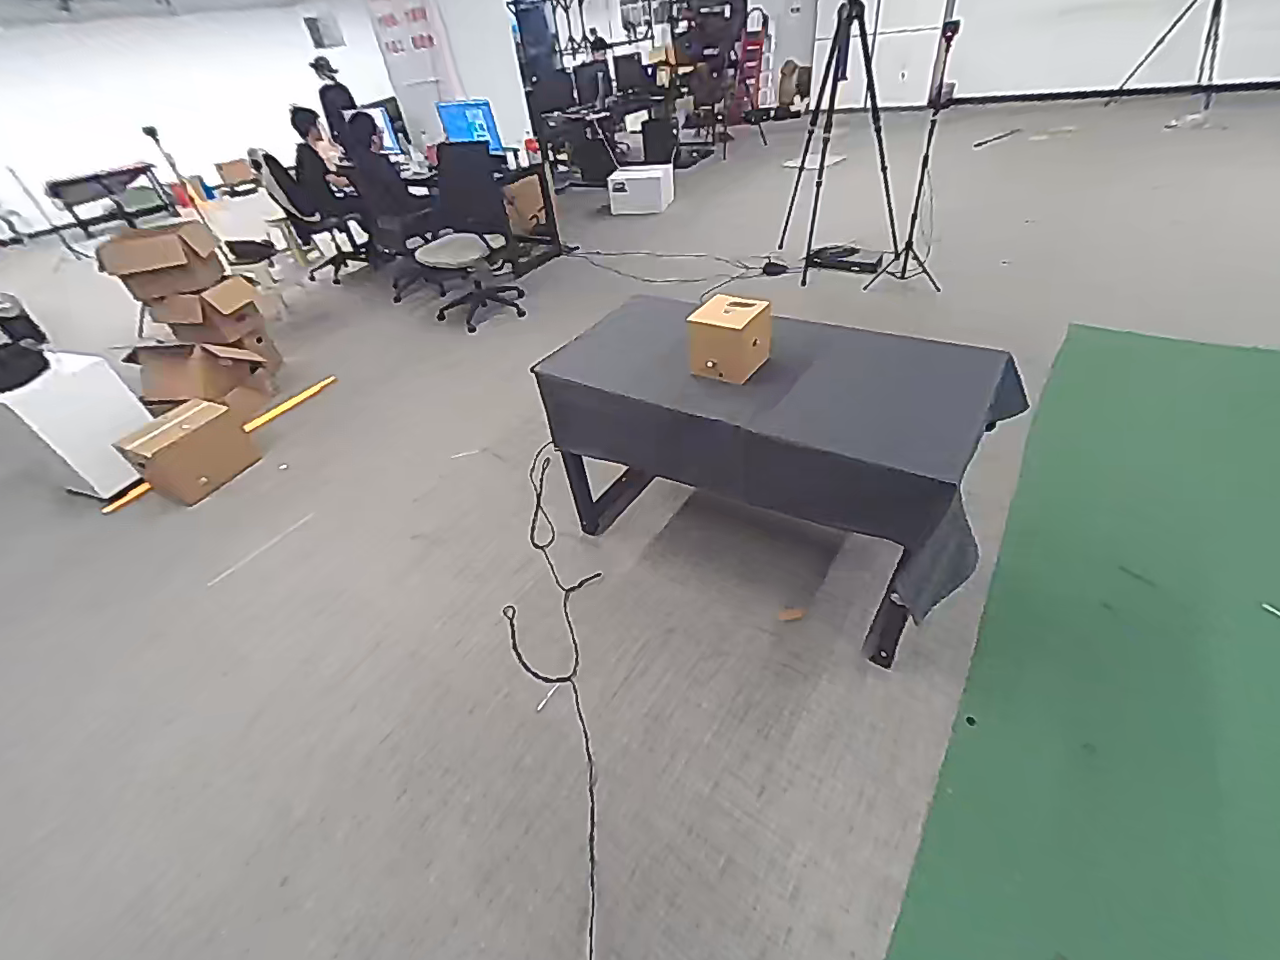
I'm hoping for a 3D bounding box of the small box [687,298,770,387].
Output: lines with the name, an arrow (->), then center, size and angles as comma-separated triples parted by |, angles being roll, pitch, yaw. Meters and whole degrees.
small box -> 0.246, -0.385, 1.505 | 0.168, 0.176, 0.179 | 20, 48, 31
